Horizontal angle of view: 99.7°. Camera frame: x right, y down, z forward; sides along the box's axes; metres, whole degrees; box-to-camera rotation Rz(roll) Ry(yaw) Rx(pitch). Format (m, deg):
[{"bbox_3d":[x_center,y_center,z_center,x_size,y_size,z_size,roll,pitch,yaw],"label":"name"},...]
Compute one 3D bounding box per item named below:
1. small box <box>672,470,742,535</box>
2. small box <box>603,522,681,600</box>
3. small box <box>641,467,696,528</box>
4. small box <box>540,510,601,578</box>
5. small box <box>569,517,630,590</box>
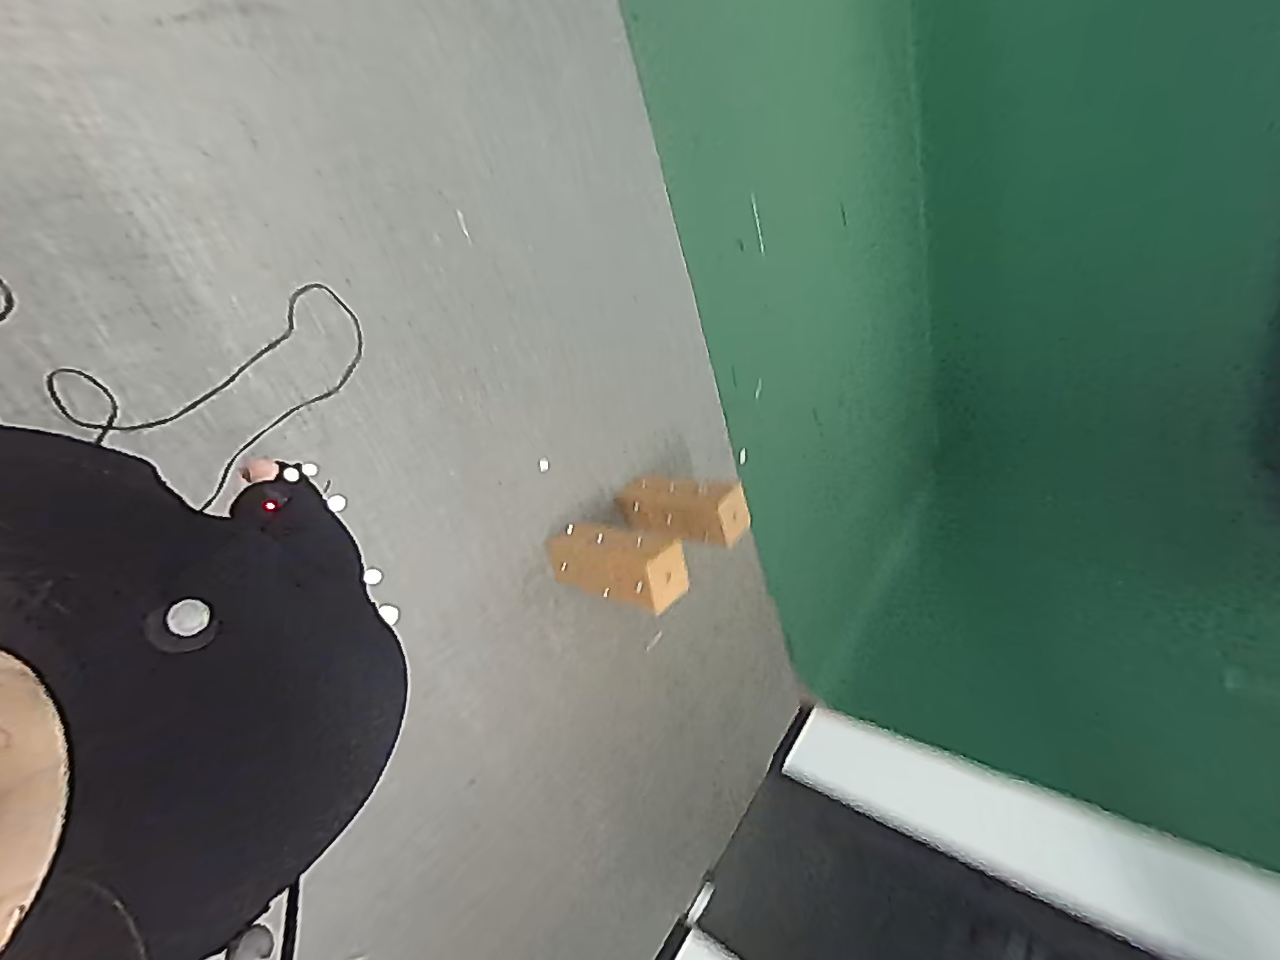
[{"bbox_3d":[0.245,0.075,1.968,0.168,0.176,0.179,-43,124,-38],"label":"small box"},{"bbox_3d":[0.006,0.253,1.732,0.168,0.176,0.179,-32,117,-40],"label":"small box"},{"bbox_3d":[0.128,0.063,2.081,0.168,0.176,0.179,-42,124,-36],"label":"small box"},{"bbox_3d":[-0.234,0.226,1.952,0.168,0.176,0.179,-32,117,-40],"label":"small box"},{"bbox_3d":[-0.114,0.245,1.841,0.168,0.176,0.179,-35,119,-40],"label":"small box"}]
